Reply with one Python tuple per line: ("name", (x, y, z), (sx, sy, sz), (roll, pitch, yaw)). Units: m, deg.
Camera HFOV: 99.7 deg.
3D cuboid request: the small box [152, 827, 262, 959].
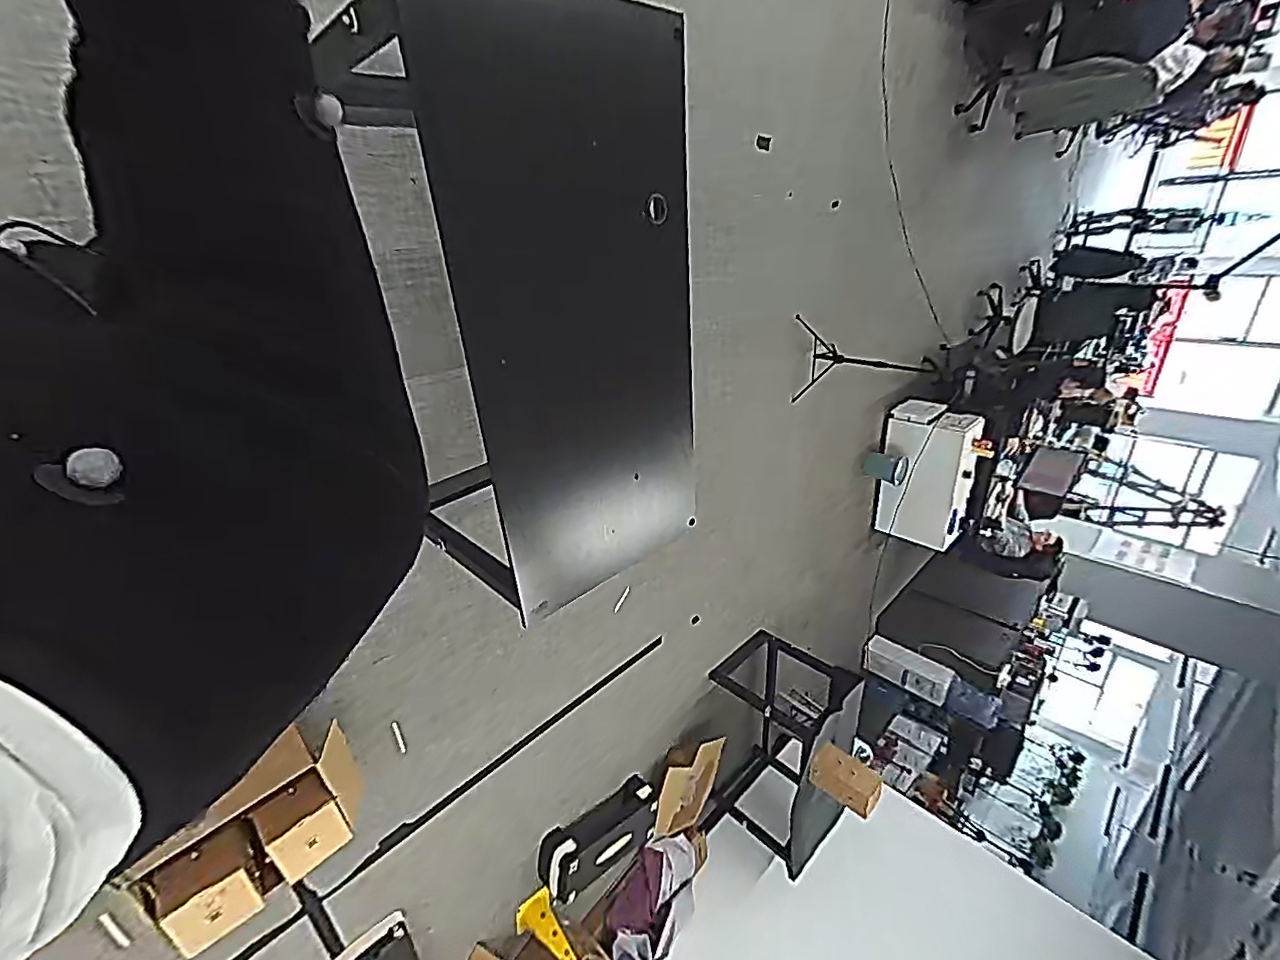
("small box", (-1.083, 1.027, 1.354), (0.168, 0.176, 0.179), (-24, 122, -39))
